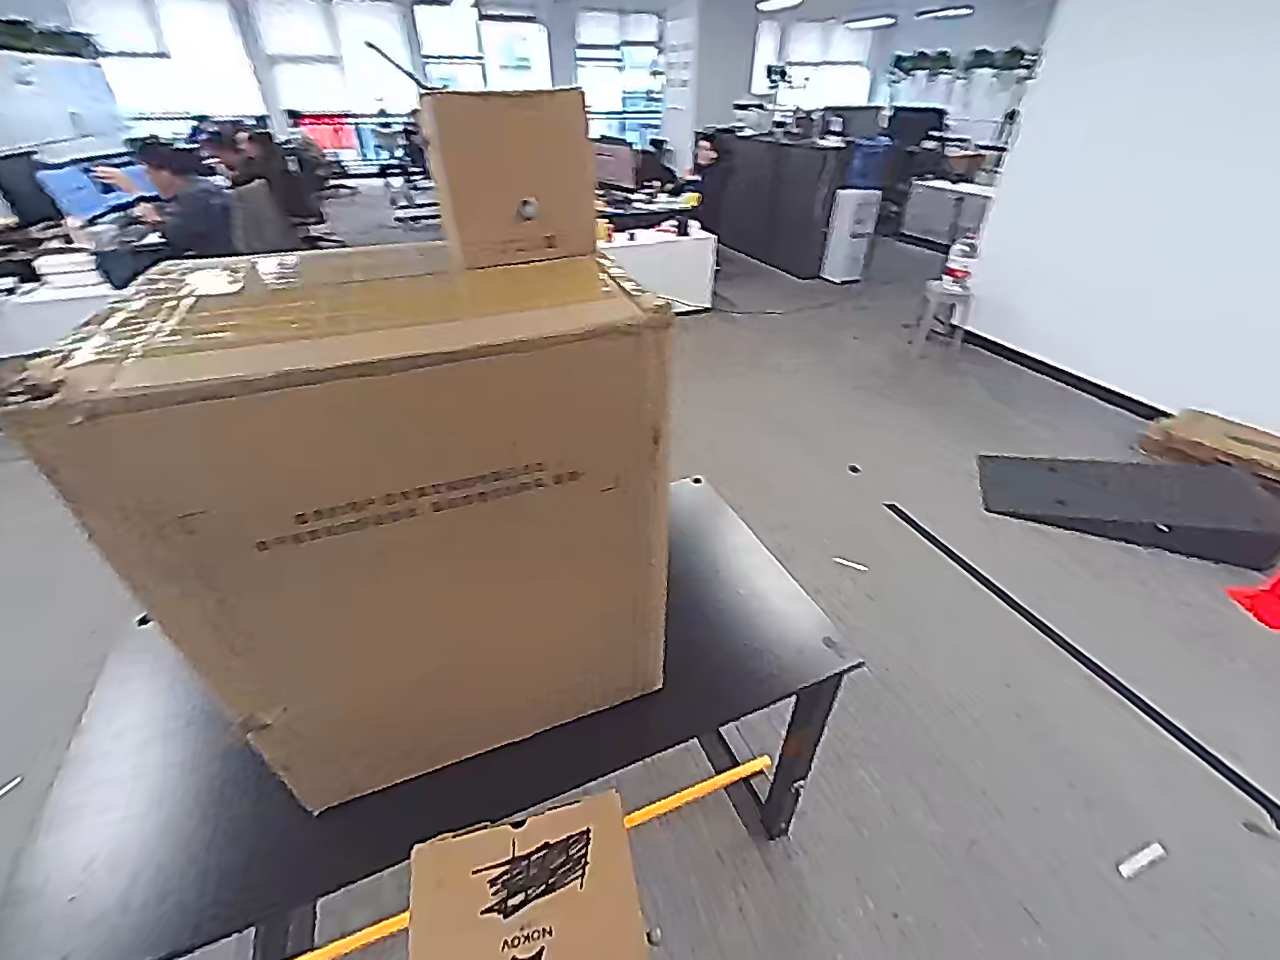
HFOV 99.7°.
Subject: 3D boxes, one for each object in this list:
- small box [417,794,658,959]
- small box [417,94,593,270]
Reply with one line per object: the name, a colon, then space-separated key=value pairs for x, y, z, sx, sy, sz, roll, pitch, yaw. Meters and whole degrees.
small box: x=-0.072 y=0.387 z=0.433 sx=0.168 sy=0.176 sz=0.179 roll=-10 pitch=47 yaw=-9
small box: x=-0.164 y=-0.364 z=0.662 sx=0.168 sy=0.176 sz=0.179 roll=-15 pitch=36 yaw=-18
